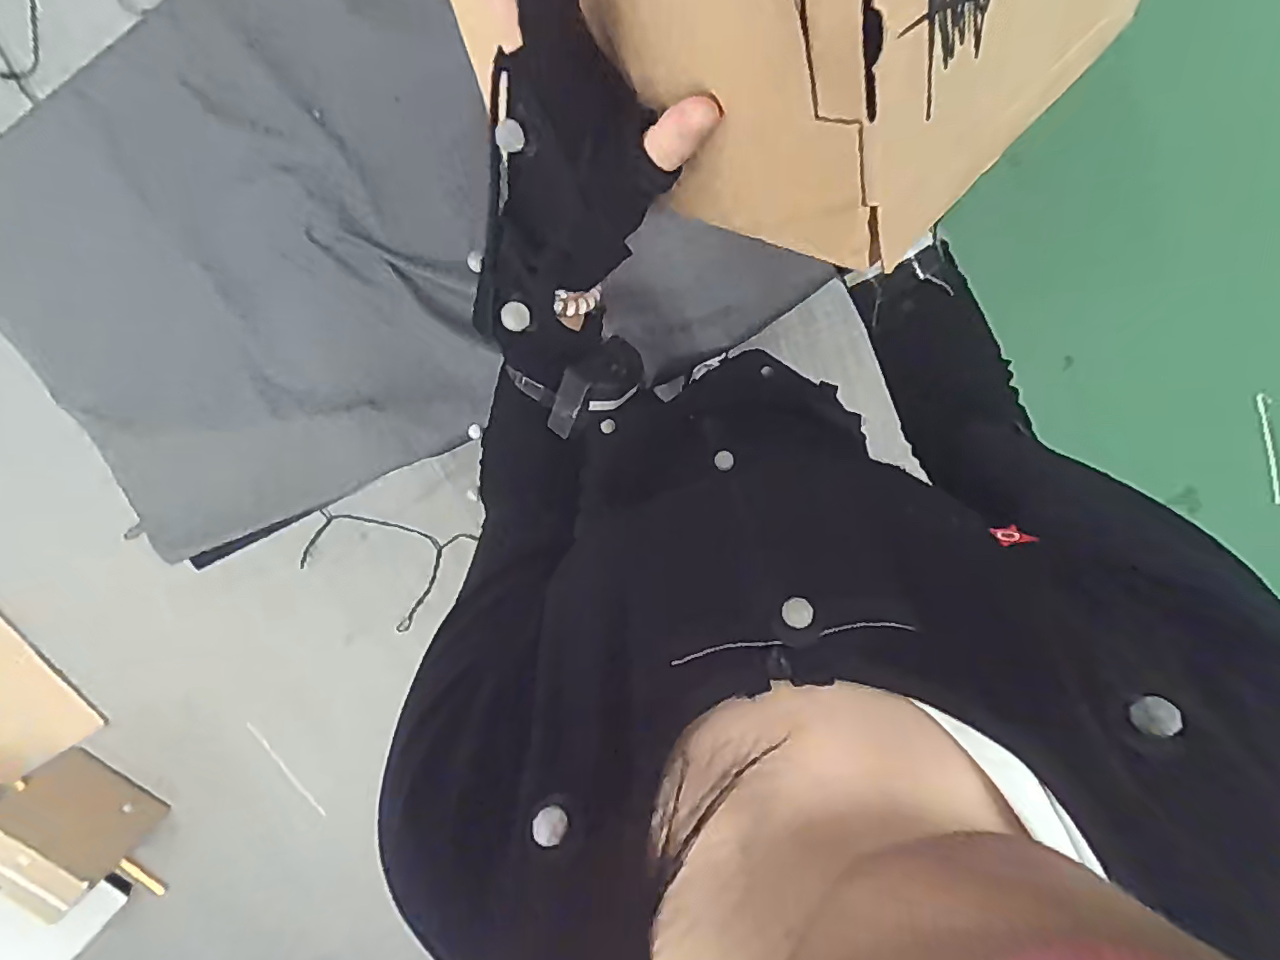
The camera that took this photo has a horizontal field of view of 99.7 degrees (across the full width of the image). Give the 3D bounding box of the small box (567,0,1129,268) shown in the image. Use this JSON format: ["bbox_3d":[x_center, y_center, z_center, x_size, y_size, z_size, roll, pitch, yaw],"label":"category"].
[{"bbox_3d":[0.074,-0.225,0.221,0.179,0.176,0.168,-44,142,-7],"label":"small box"}]
